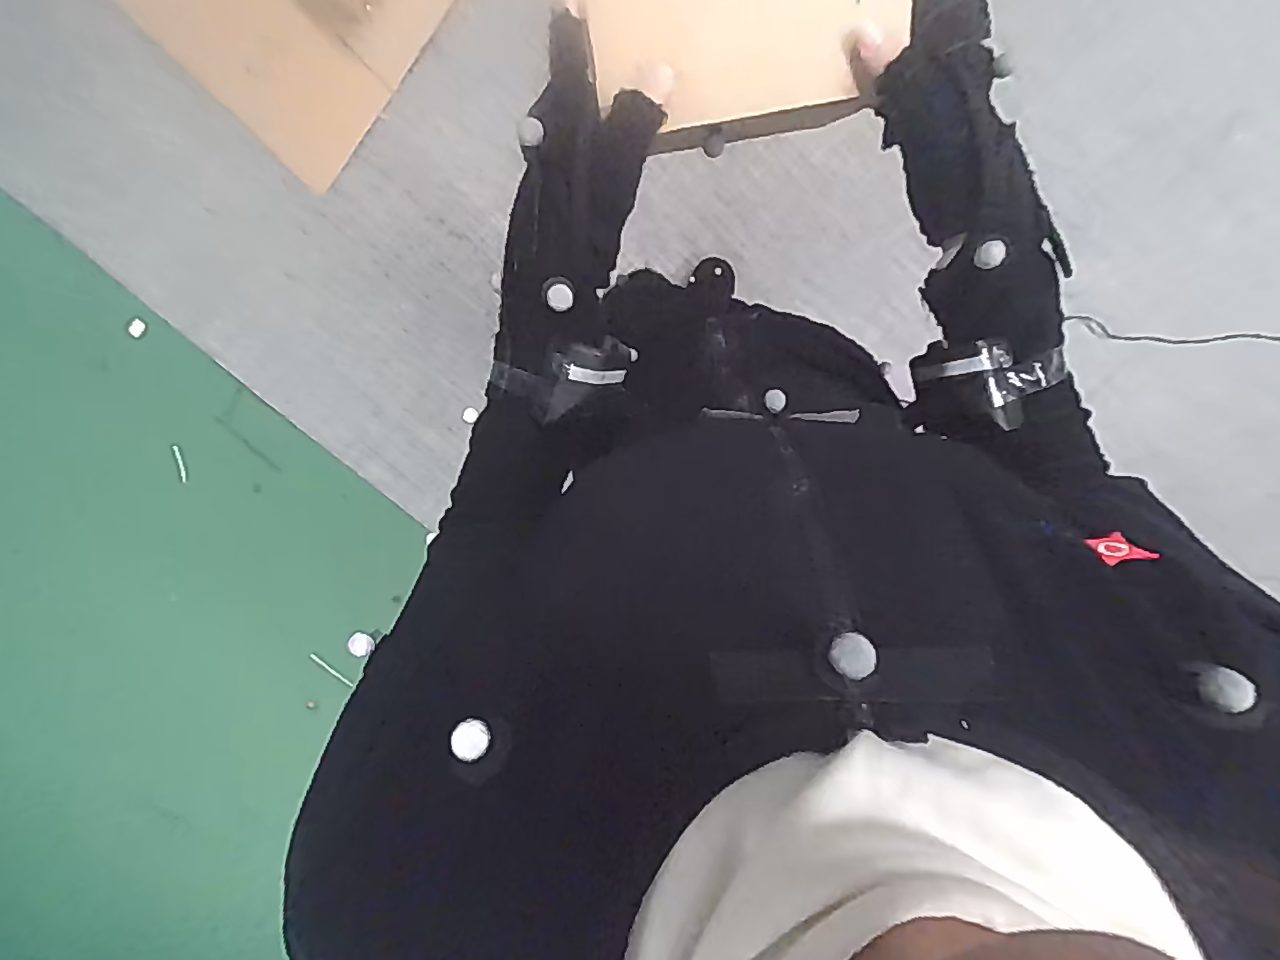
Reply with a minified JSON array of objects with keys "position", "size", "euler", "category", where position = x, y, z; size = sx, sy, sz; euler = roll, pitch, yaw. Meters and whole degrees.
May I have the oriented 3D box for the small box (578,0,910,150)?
[{"position":[0.053,-0.330,0.347],"size":[0.179,0.176,0.168],"euler":[-9,114,8],"category":"small box"}]
